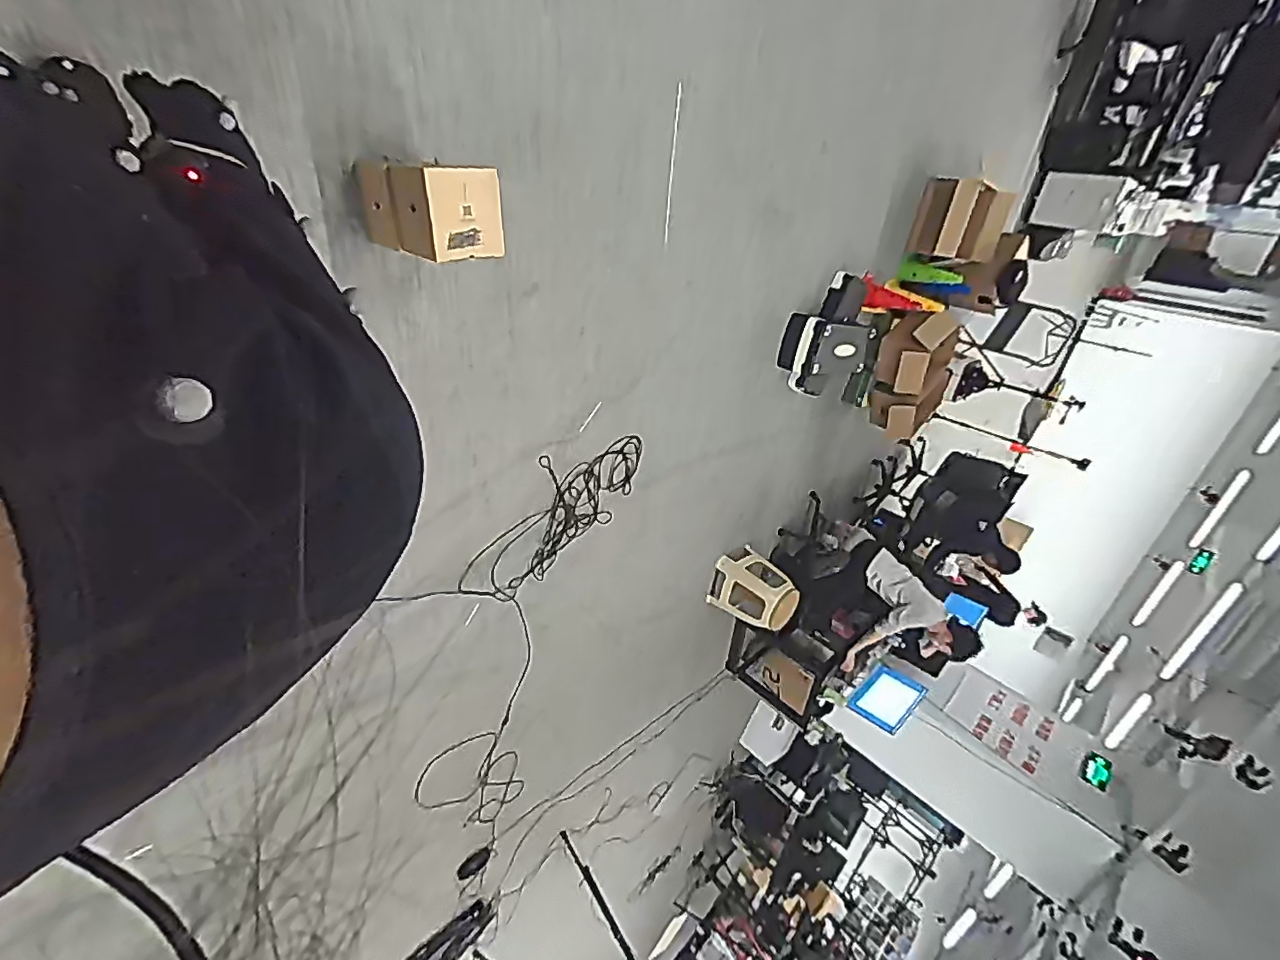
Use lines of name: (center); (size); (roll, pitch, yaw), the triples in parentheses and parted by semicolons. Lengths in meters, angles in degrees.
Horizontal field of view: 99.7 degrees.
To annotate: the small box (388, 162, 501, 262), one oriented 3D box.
small box: (-0.423, -0.585, 1.175); (0.168, 0.176, 0.179); (-24, 130, -37)
